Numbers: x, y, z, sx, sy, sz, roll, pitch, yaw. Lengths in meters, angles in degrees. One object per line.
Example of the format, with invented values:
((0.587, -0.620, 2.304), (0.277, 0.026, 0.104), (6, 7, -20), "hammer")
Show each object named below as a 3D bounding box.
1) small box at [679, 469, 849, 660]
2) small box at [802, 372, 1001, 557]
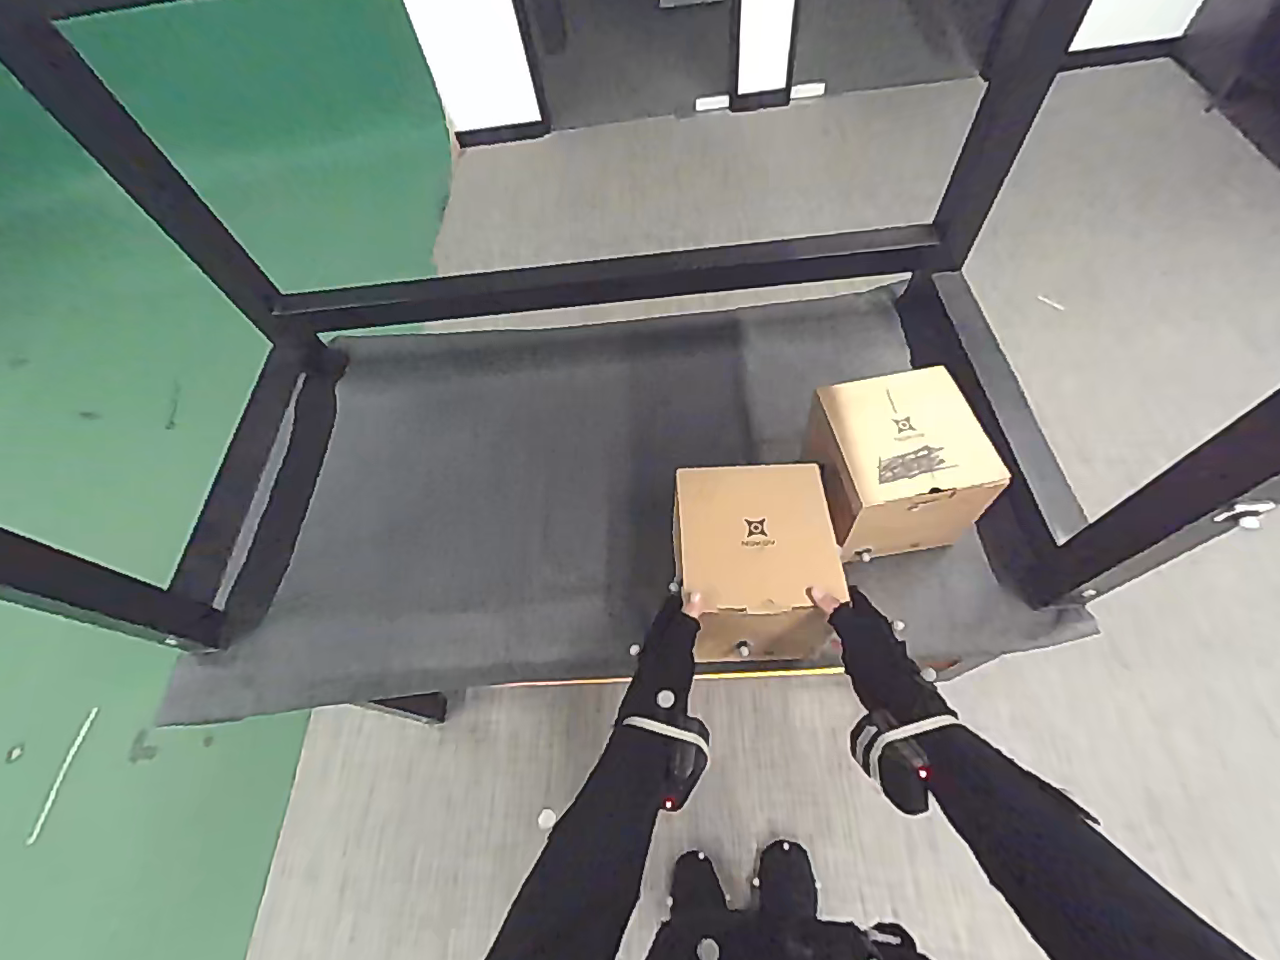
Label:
((0.133, 0.105, 0.656), (0.168, 0.176, 0.179), (-2, 54, 3), "small box")
((0.325, -0.011, 0.715), (0.168, 0.176, 0.179), (-10, 57, 3), "small box")
